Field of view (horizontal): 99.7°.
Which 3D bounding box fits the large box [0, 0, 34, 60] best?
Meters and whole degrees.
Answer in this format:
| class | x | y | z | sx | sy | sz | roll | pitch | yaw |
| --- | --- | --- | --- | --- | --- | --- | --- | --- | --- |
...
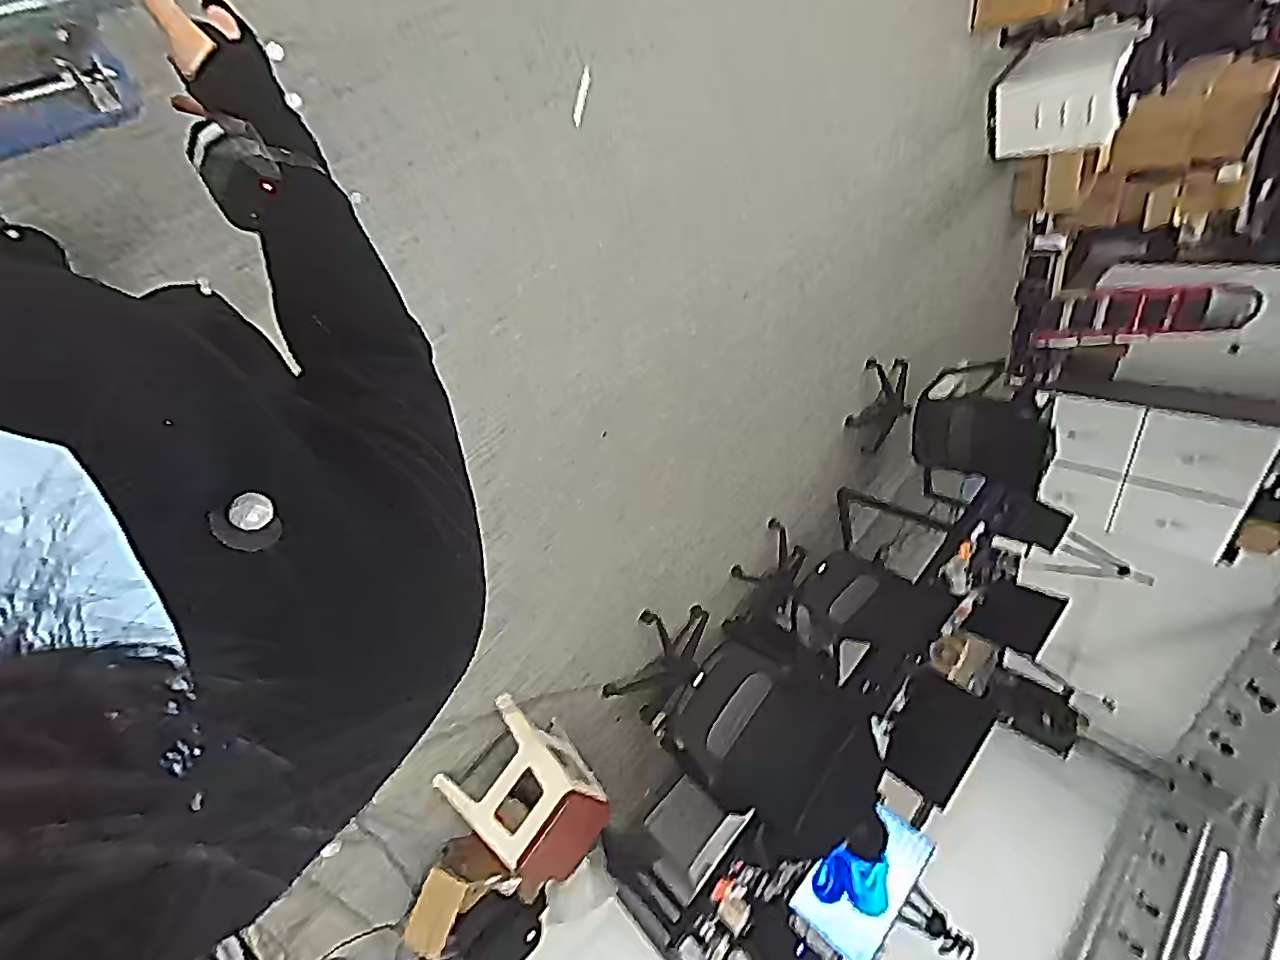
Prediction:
| class | x | y | z | sx | sy | sz | roll | pitch | yaw |
| --- | --- | --- | --- | --- | --- | --- | --- | --- | --- |
| large box | -0.978 | -0.594 | 0.534 | 0.408 | 0.320 | 0.320 | -41 | 132 | -25 |
